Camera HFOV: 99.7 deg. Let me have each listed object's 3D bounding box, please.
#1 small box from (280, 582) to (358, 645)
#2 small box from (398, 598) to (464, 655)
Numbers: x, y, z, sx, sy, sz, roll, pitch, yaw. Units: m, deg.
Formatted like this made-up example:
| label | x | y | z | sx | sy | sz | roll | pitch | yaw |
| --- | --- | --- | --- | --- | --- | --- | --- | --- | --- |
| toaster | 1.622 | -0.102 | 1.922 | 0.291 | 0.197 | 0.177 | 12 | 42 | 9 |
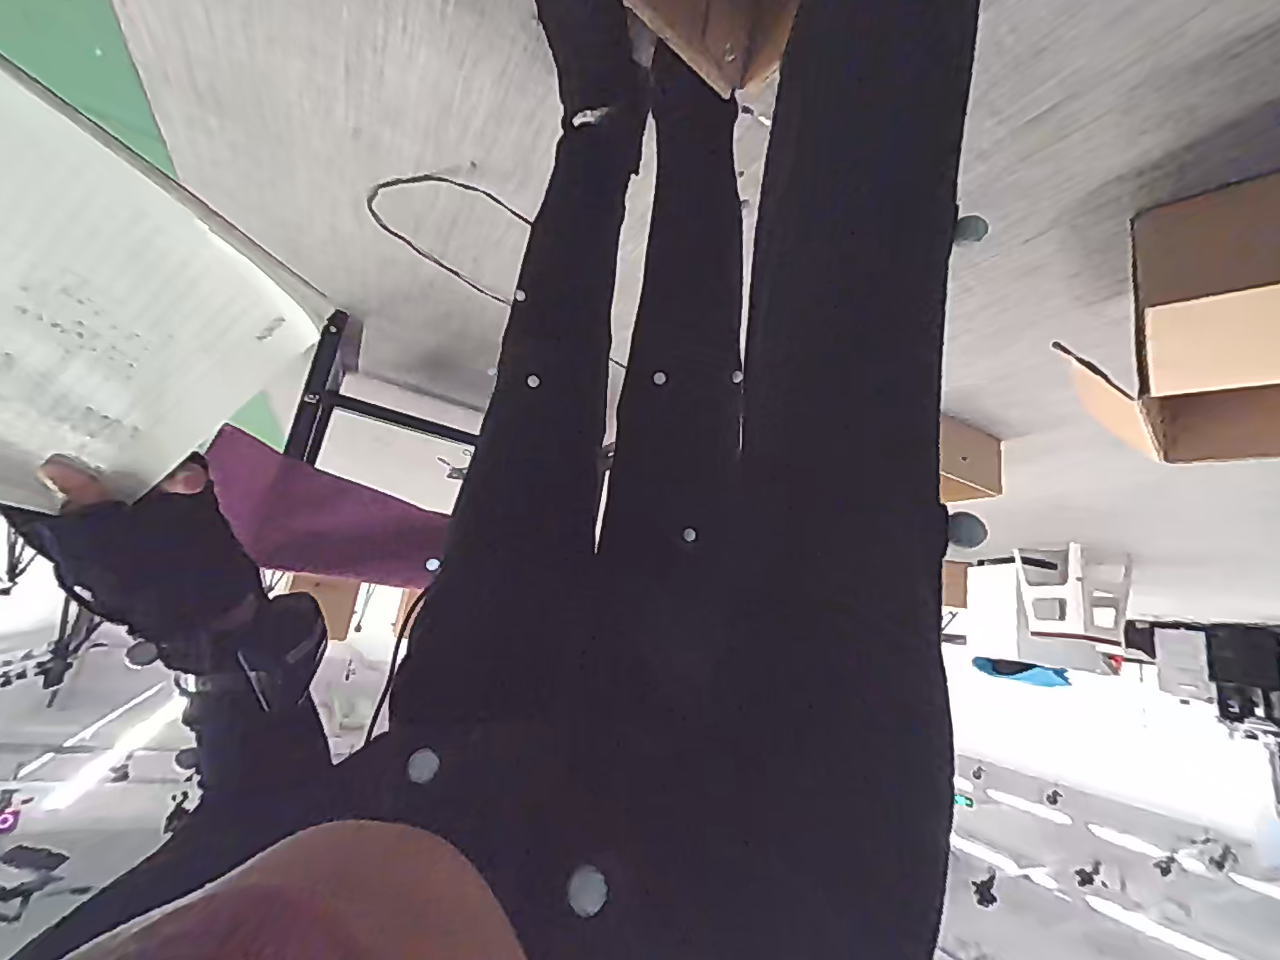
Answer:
| label | x | y | z | sx | sy | sz | roll | pitch | yaw |
| --- | --- | --- | --- | --- | --- | --- | --- | --- | --- |
| small box | -0.994 | 0.412 | 1.680 | 0.168 | 0.176 | 0.179 | 19 | 161 | -33 |
| small box | -0.716 | 0.500 | 1.856 | 0.168 | 0.176 | 0.179 | 16 | 164 | -26 |
